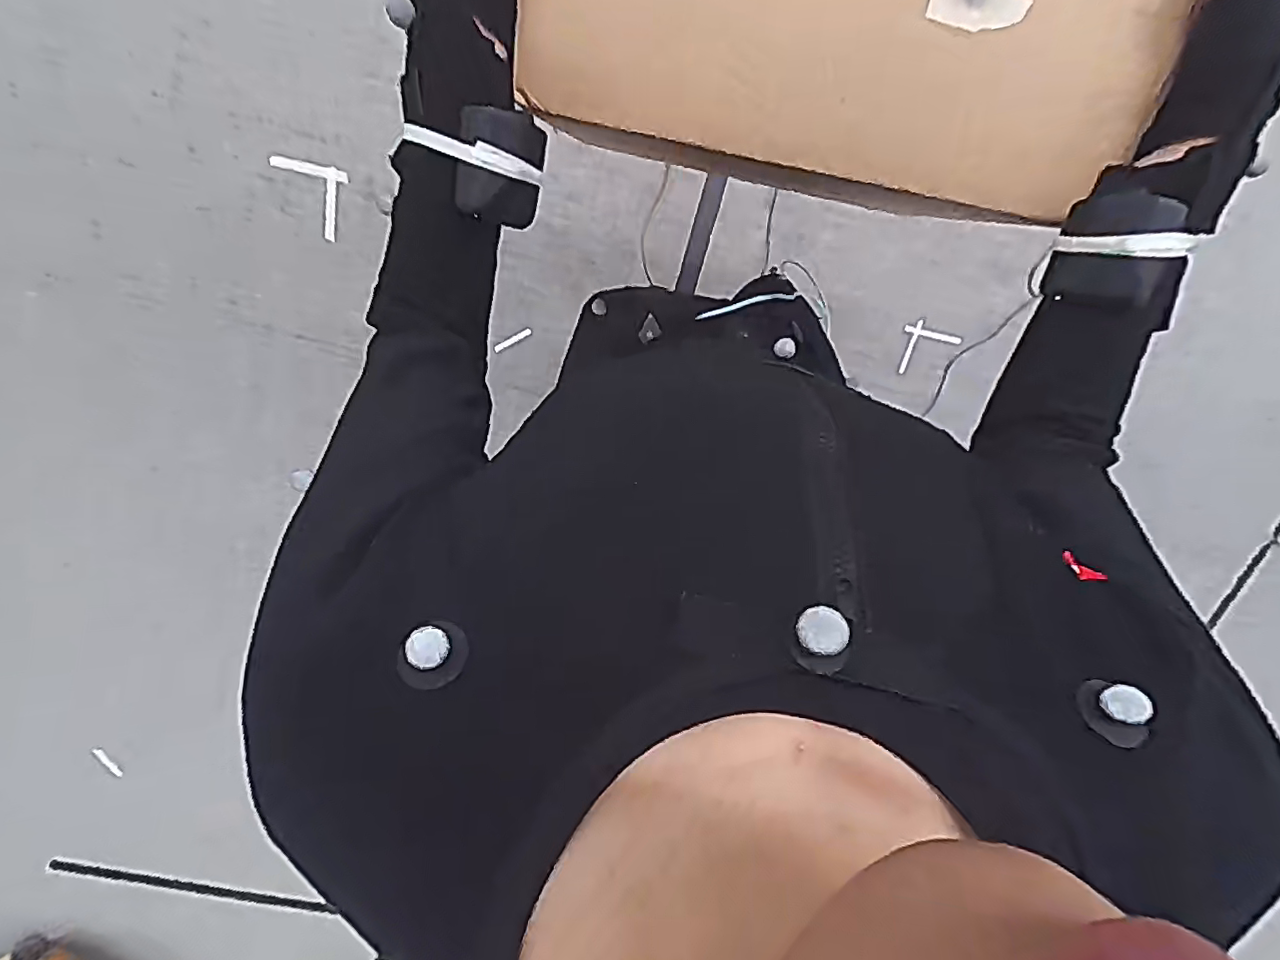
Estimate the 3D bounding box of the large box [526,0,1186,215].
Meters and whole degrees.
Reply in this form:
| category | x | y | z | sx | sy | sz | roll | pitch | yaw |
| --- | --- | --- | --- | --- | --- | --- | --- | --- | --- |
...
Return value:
| category | x | y | z | sx | sy | sz | roll | pitch | yaw |
| --- | --- | --- | --- | --- | --- | --- | --- | --- | --- |
| large box | 0.144 | -0.421 | 0.433 | 0.408 | 0.320 | 0.320 | 10 | 119 | -4 |
